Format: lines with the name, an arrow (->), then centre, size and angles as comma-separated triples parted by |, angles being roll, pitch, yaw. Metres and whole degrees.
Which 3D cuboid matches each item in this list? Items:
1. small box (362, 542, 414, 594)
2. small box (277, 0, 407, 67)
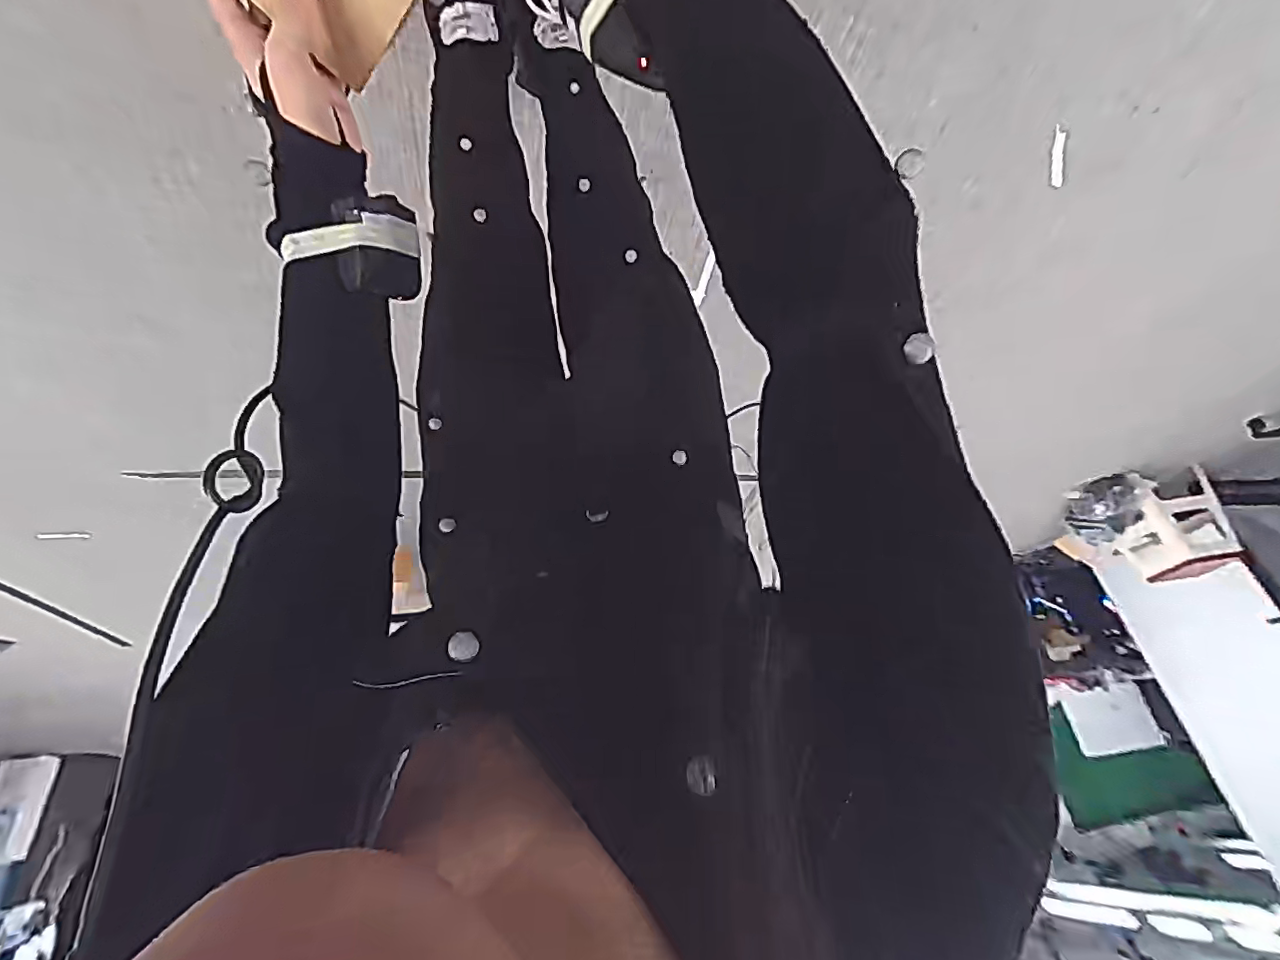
small box -> -1.071, 0.375, 2.300 | 0.179, 0.176, 0.168 | 8, 145, -30
small box -> -0.186, -0.417, 0.320 | 0.179, 0.176, 0.168 | -23, 142, 39
